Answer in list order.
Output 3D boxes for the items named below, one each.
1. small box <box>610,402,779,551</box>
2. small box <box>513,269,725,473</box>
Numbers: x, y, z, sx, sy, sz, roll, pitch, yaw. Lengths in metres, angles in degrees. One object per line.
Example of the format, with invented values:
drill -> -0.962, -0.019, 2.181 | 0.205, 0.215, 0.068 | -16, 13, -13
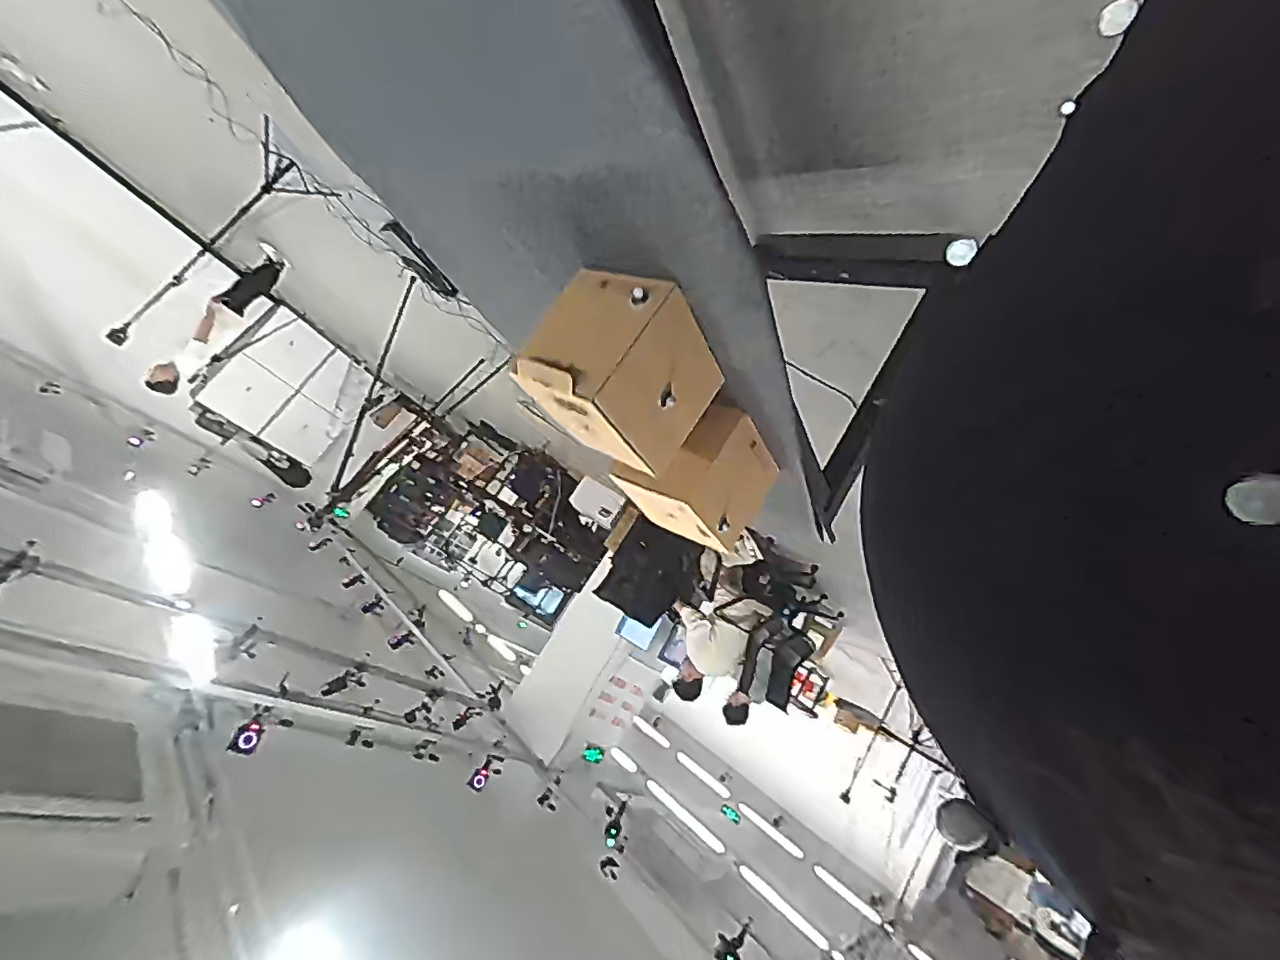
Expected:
small box -> 0.091, -0.020, 0.868 | 0.179, 0.176, 0.168 | 23, 163, 41
small box -> -0.019, -0.143, 0.692 | 0.168, 0.176, 0.179 | 26, 167, 38
